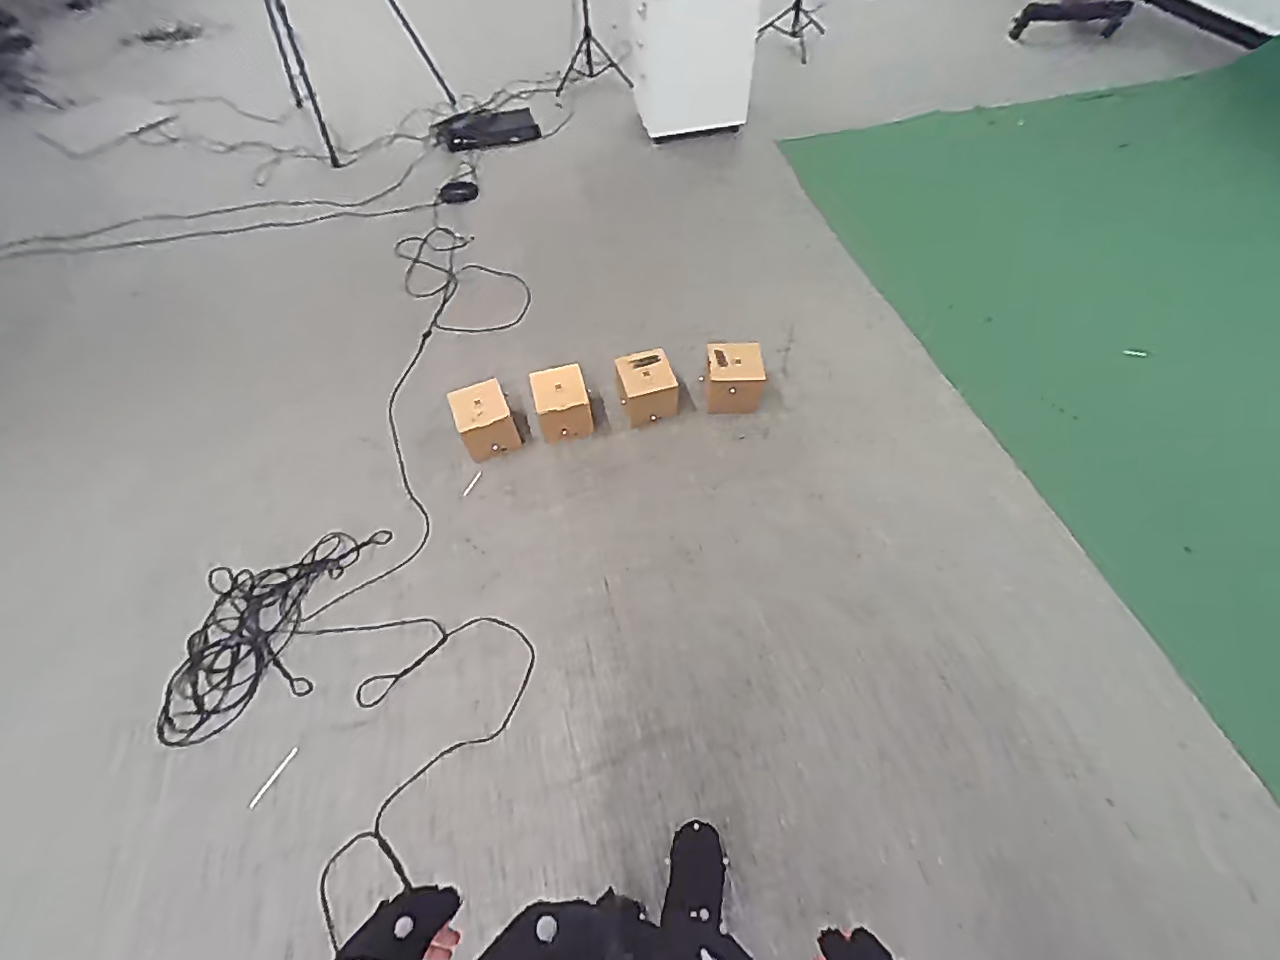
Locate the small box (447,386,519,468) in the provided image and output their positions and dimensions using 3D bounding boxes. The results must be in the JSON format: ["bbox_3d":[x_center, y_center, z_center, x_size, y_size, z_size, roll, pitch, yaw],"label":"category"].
[{"bbox_3d":[-0.507,-0.170,1.754,0.168,0.176,0.179,-21,59,-10],"label":"small box"}]

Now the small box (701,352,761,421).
[{"bbox_3d":[0.300,-0.312,1.826,0.179,0.176,0.168,0,57,0],"label":"small box"}]

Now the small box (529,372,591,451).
[{"bbox_3d":[-0.262,-0.224,1.785,0.168,0.176,0.179,-13,58,-7],"label":"small box"}]
